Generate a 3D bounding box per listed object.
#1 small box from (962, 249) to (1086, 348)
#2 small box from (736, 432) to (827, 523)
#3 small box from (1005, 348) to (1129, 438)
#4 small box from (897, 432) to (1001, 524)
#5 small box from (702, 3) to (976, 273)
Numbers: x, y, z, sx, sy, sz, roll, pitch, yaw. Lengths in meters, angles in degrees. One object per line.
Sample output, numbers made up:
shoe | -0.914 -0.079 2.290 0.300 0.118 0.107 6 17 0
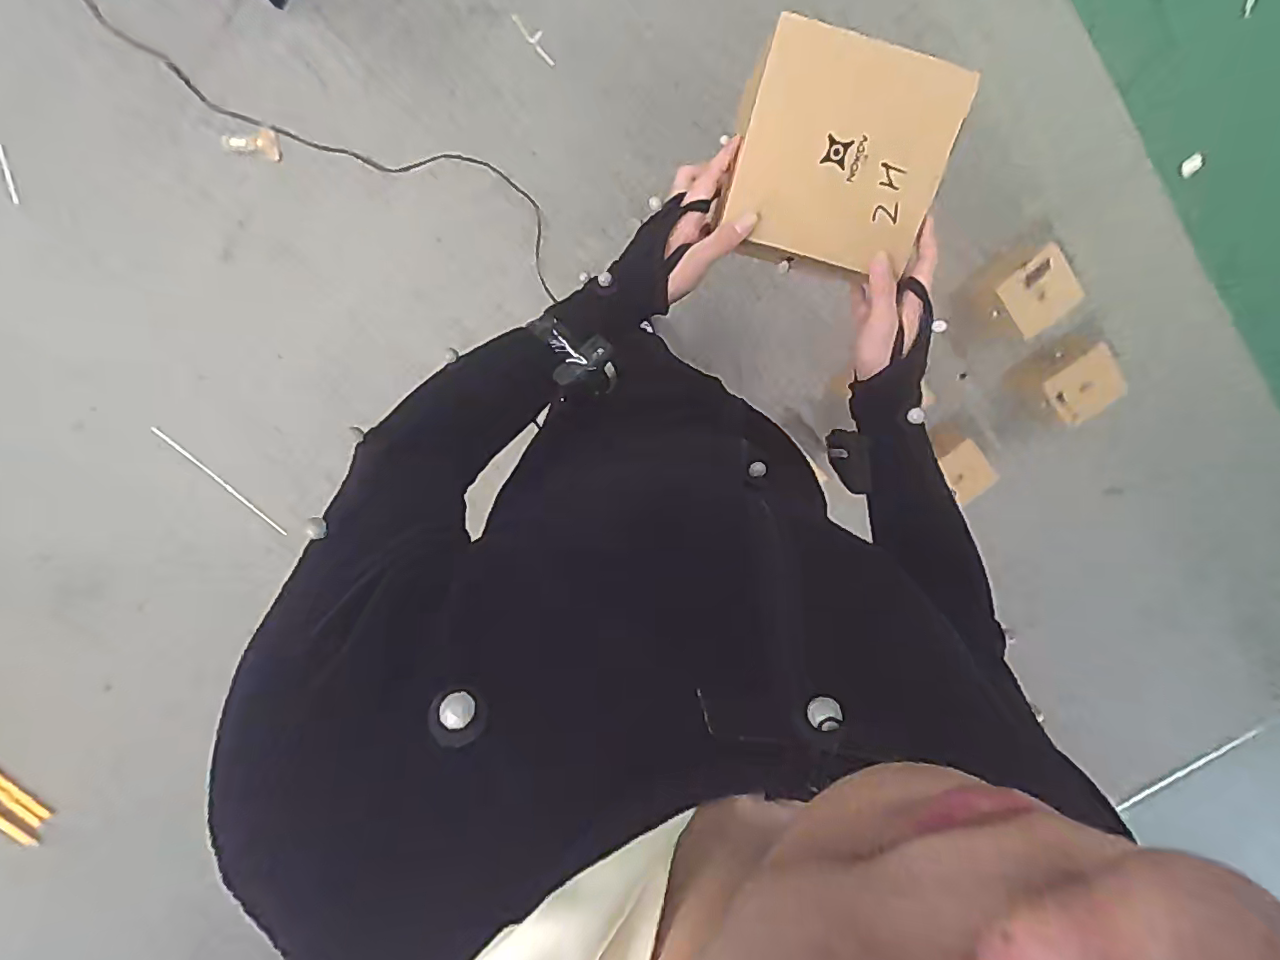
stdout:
small box | 0.986 -0.467 1.405 0.168 0.176 0.179 -39 105 12
small box | 0.397 -0.014 1.554 0.179 0.176 0.168 -41 104 13
small box | 1.158 -0.245 1.478 0.179 0.176 0.168 -38 104 10
small box | 0.872 -0.011 1.553 0.179 0.176 0.168 -40 105 11
small box | 0.166 -0.304 0.525 0.179 0.176 0.168 14 110 -4
